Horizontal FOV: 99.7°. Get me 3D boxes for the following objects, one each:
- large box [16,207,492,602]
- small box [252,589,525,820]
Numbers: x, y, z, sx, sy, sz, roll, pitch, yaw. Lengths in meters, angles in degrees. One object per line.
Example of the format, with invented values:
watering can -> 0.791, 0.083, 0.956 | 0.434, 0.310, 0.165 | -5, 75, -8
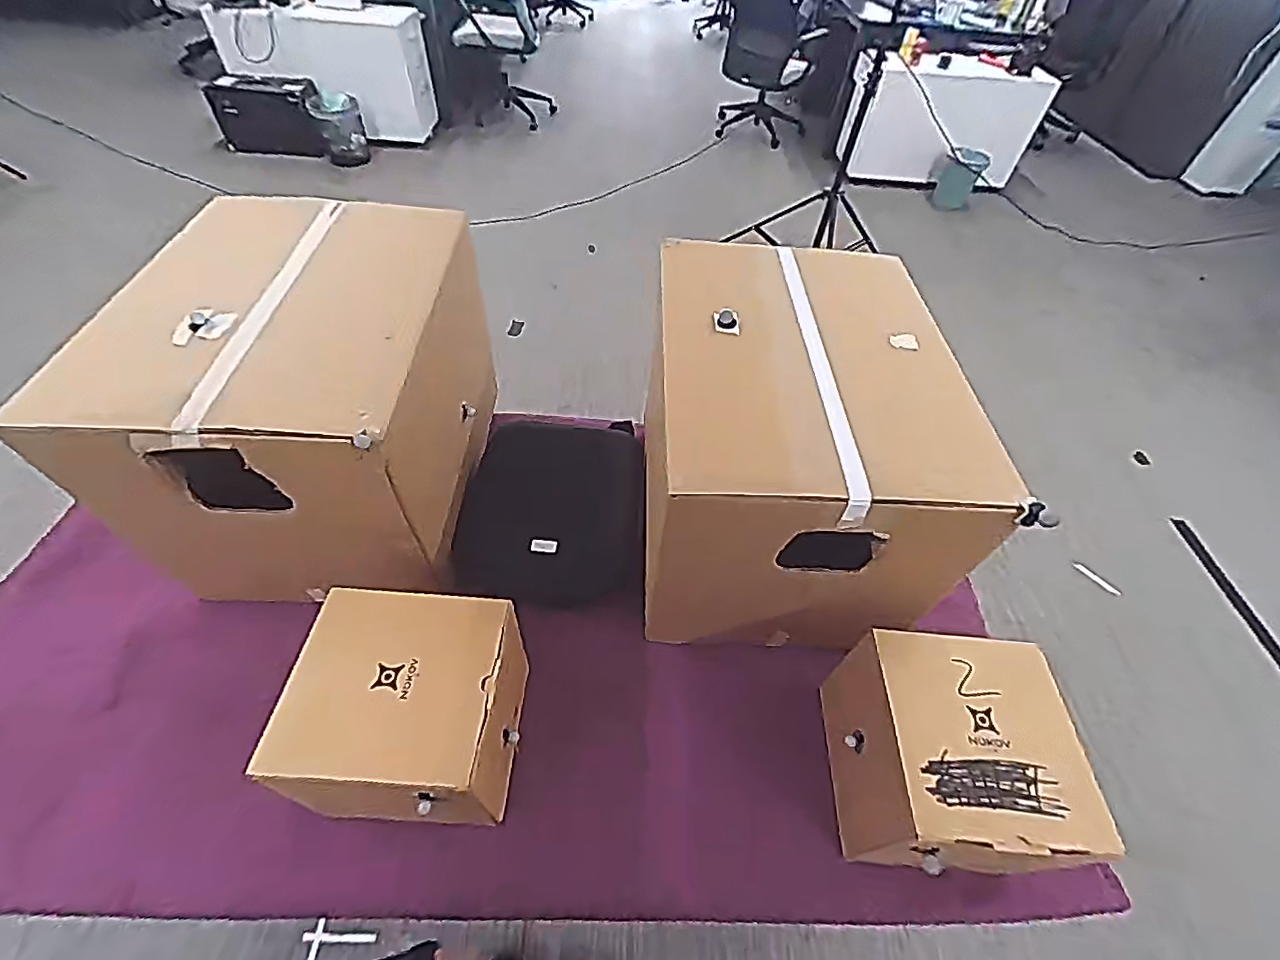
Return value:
large box -> -0.383, -0.091, 0.691 | 0.320, 0.320, 0.408 | 1, 53, -4
small box -> -0.219, 0.224, 0.534 | 0.179, 0.176, 0.168 | 4, 49, -2
